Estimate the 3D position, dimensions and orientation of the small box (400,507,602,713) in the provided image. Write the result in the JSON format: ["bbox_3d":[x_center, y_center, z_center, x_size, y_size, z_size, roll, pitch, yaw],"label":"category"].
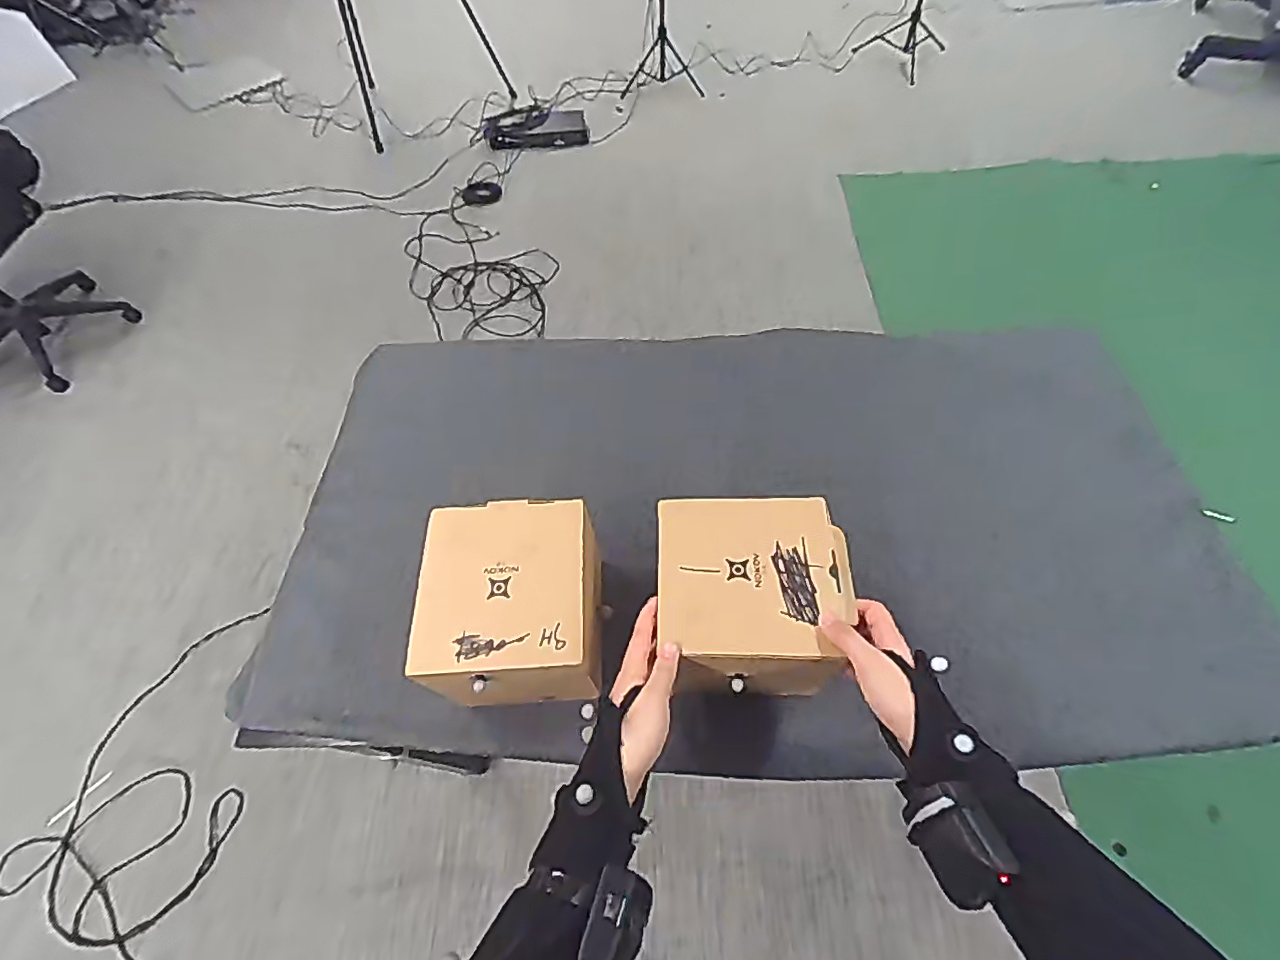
[{"bbox_3d":[-0.135,0.148,0.600,0.168,0.176,0.179,-4,57,2],"label":"small box"}]
